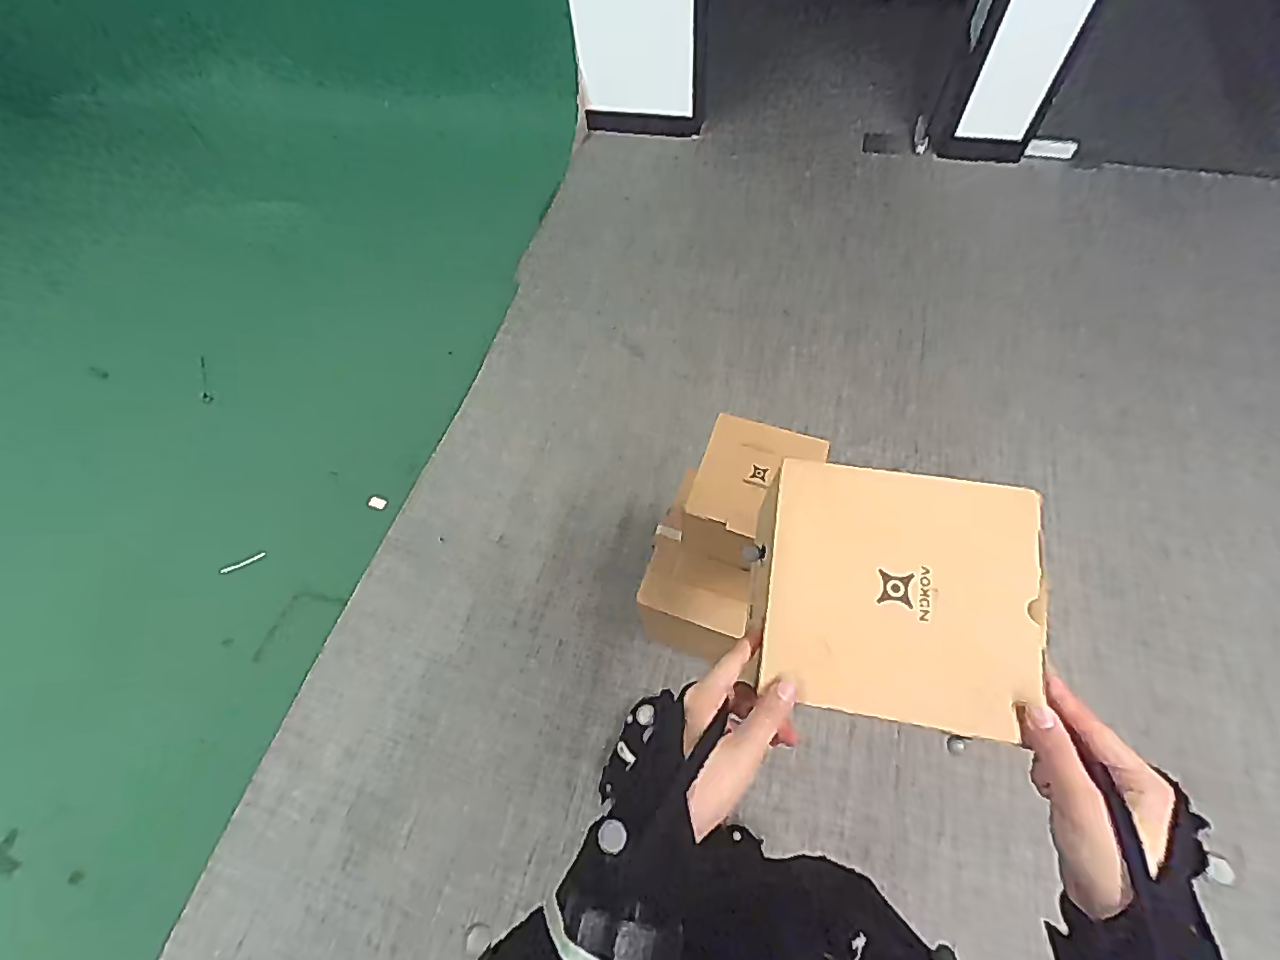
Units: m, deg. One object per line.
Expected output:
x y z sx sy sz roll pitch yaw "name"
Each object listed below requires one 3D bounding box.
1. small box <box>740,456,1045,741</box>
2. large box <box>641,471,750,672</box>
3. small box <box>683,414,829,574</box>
0.179 0.093 0.434 0.179 0.176 0.168 8 74 8 "small box"
0.242 0.229 1.173 0.408 0.320 0.320 17 65 12 "large box"
0.169 0.034 0.820 0.168 0.176 0.179 17 63 11 "small box"
